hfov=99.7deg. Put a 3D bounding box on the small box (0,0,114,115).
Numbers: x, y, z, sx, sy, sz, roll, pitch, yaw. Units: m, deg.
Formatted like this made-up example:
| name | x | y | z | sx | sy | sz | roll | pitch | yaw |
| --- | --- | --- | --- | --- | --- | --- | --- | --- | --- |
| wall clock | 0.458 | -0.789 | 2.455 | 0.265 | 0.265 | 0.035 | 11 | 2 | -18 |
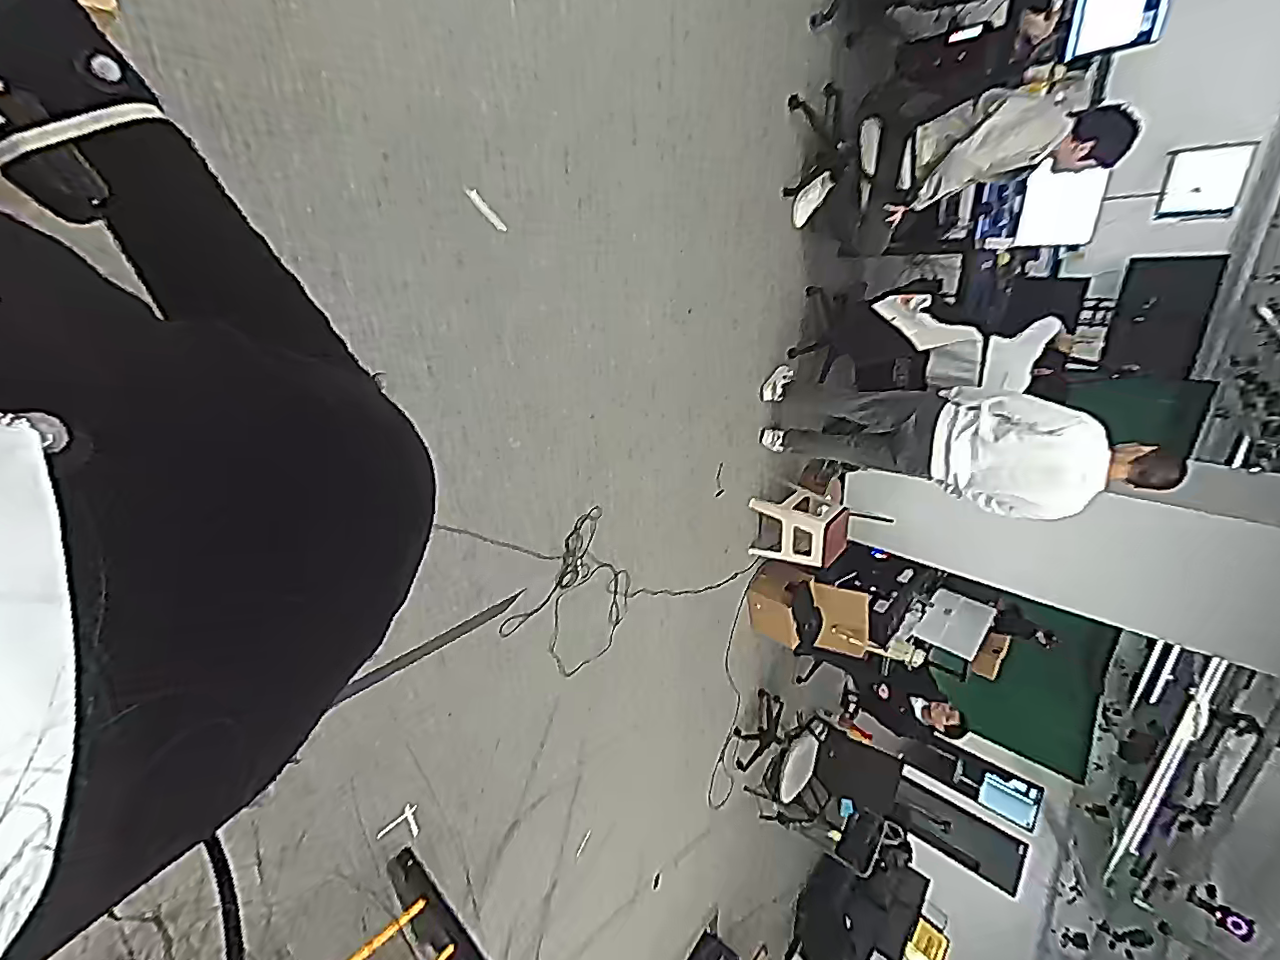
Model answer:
| name | x | y | z | sx | sy | sz | roll | pitch | yaw |
| --- | --- | --- | --- | --- | --- | --- | --- | --- | --- |
| small box | -0.694 | -0.485 | 0.547 | 0.179 | 0.176 | 0.168 | -28 | 125 | -42 |
